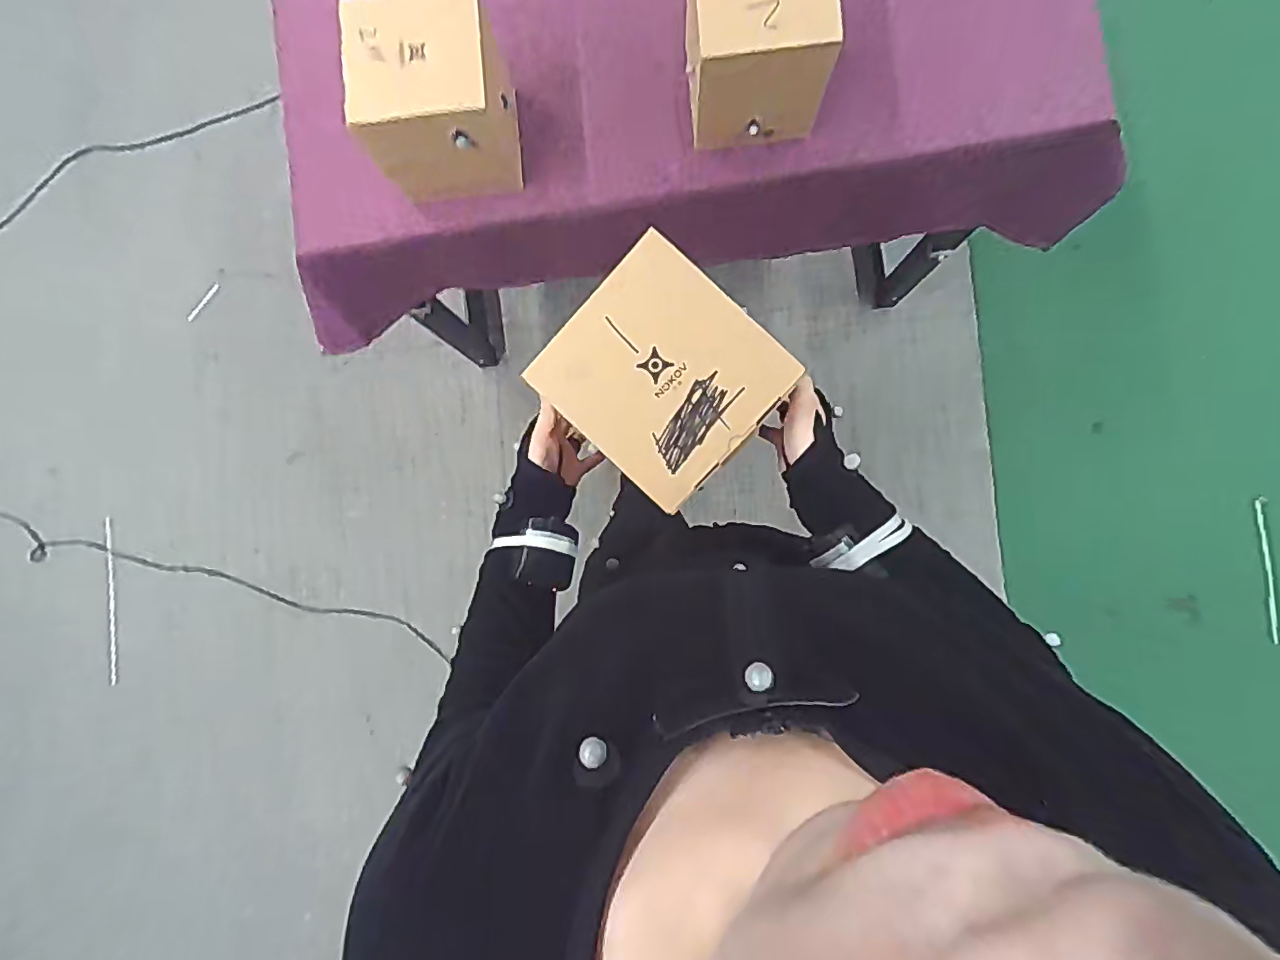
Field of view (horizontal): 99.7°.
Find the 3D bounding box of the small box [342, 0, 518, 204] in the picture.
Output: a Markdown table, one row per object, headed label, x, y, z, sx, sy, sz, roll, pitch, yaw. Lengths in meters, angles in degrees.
| label | x | y | z | sx | sy | sz | roll | pitch | yaw |
| --- | --- | --- | --- | --- | --- | --- | --- | --- | --- |
| small box | -0.272 | -0.507 | 0.738 | 0.179 | 0.176 | 0.168 | -5 | 86 | 4 |
